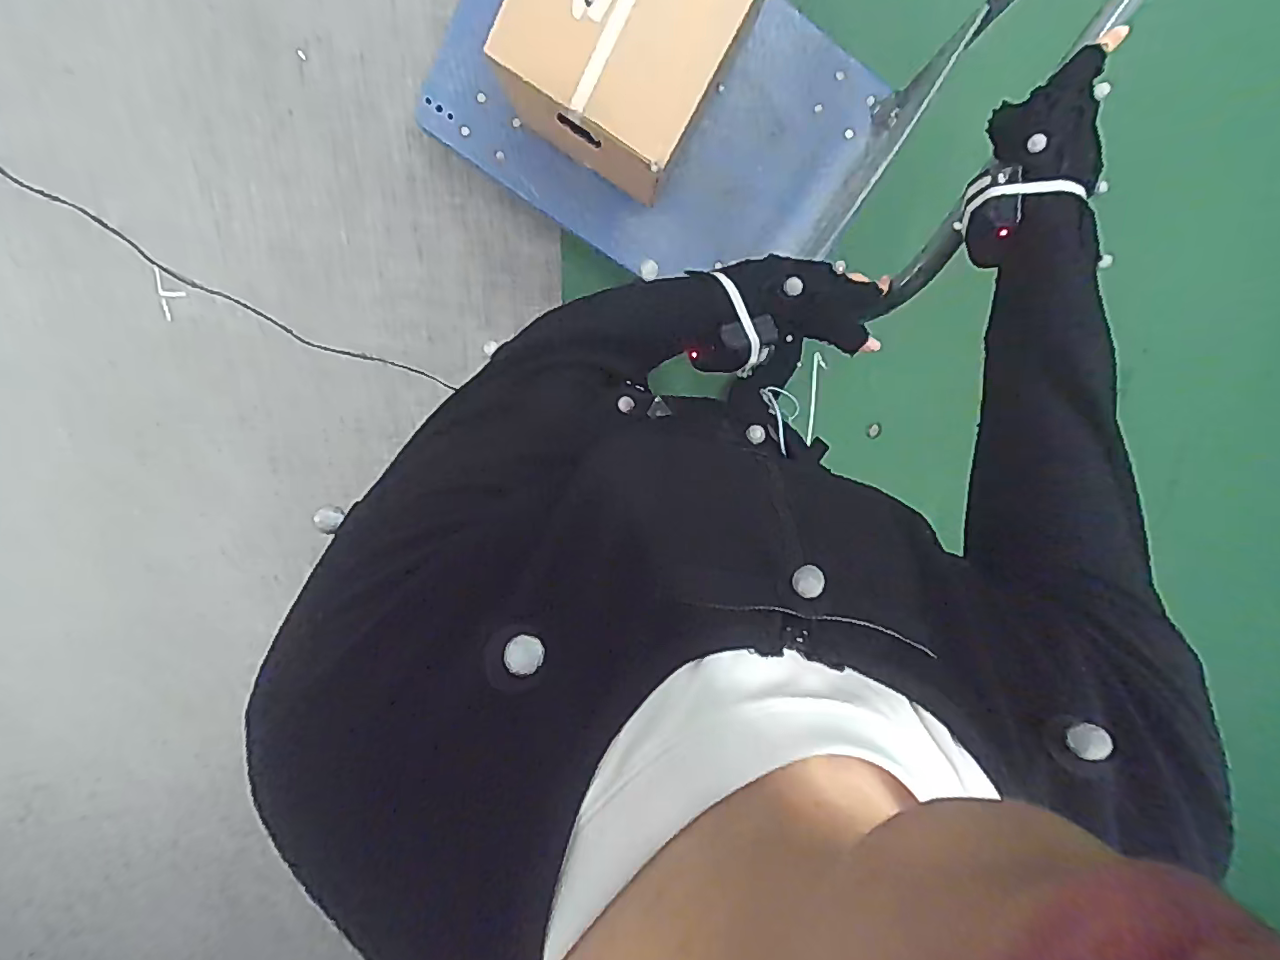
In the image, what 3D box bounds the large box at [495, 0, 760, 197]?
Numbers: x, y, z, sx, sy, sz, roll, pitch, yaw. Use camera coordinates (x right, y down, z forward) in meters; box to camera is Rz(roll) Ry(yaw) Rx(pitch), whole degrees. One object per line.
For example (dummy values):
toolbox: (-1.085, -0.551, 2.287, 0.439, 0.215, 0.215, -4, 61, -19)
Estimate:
large box: (0.007, -0.780, 0.921, 0.320, 0.320, 0.408, 29, 105, -9)
